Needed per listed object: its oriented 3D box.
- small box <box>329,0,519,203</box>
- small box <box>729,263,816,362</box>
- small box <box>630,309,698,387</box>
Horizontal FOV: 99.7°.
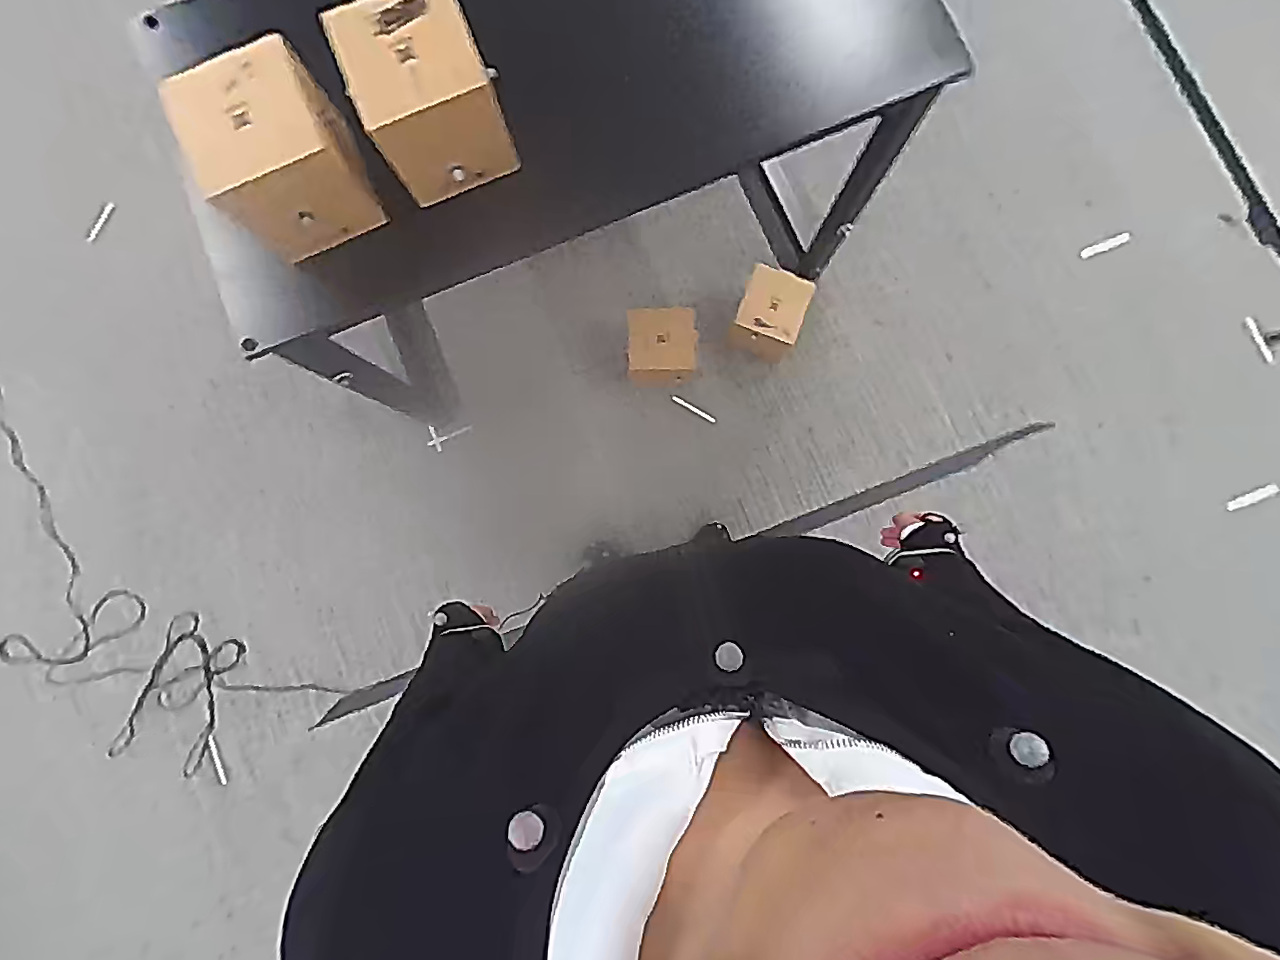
[{"bbox_3d":[-0.290,-0.538,0.763,0.168,0.176,0.179,-22,86,0],"label":"small box"},{"bbox_3d":[0.351,-0.448,1.472,0.168,0.176,0.179,21,86,3],"label":"small box"},{"bbox_3d":[0.062,-0.356,1.474,0.179,0.176,0.168,-1,85,2],"label":"small box"}]
